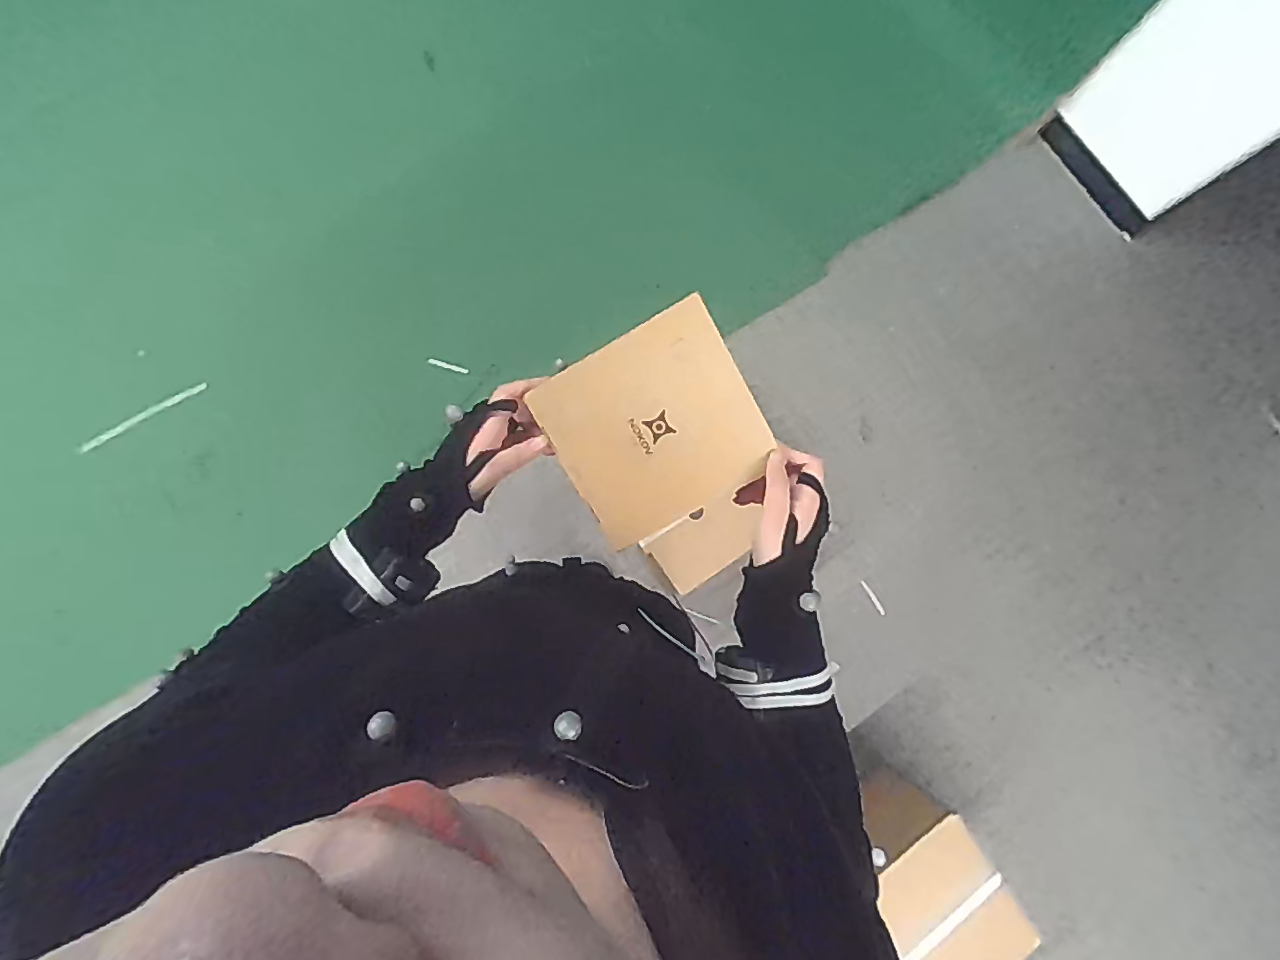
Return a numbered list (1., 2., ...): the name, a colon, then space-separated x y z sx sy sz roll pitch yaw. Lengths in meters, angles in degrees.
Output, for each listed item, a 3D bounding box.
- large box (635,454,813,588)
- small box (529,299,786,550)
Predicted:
1. large box: 0.158 0.045 1.415 0.408 0.320 0.320 -33 84 -9
2. small box: 0.019 -0.062 0.547 0.179 0.176 0.168 -29 100 10
